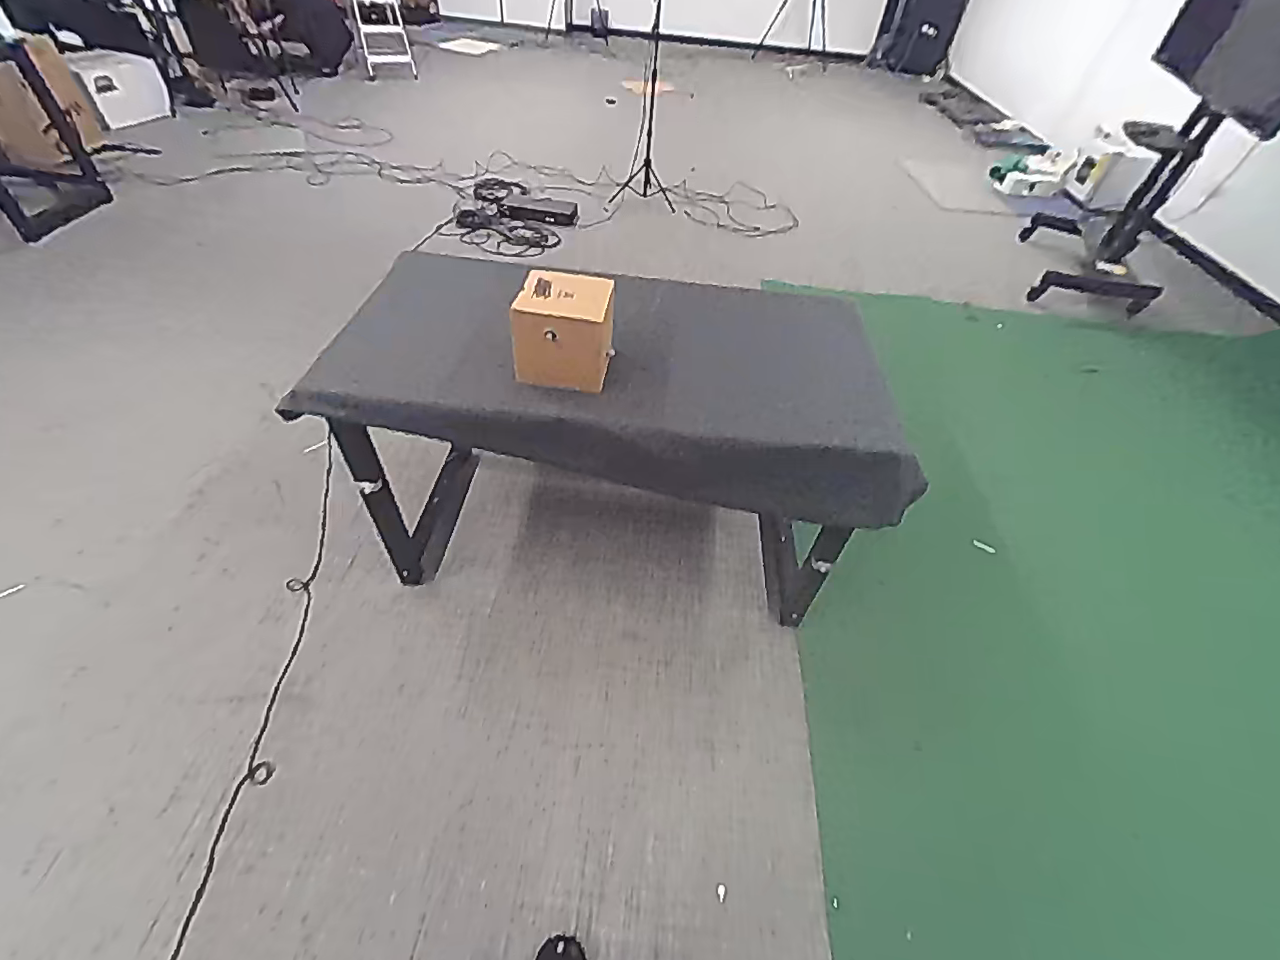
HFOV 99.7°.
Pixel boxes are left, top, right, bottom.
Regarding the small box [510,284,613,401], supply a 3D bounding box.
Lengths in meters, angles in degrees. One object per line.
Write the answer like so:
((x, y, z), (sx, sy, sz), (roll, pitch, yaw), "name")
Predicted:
((-0.157, -0.283, 1.123), (0.179, 0.176, 0.168), (8, 47, 1), "small box")
